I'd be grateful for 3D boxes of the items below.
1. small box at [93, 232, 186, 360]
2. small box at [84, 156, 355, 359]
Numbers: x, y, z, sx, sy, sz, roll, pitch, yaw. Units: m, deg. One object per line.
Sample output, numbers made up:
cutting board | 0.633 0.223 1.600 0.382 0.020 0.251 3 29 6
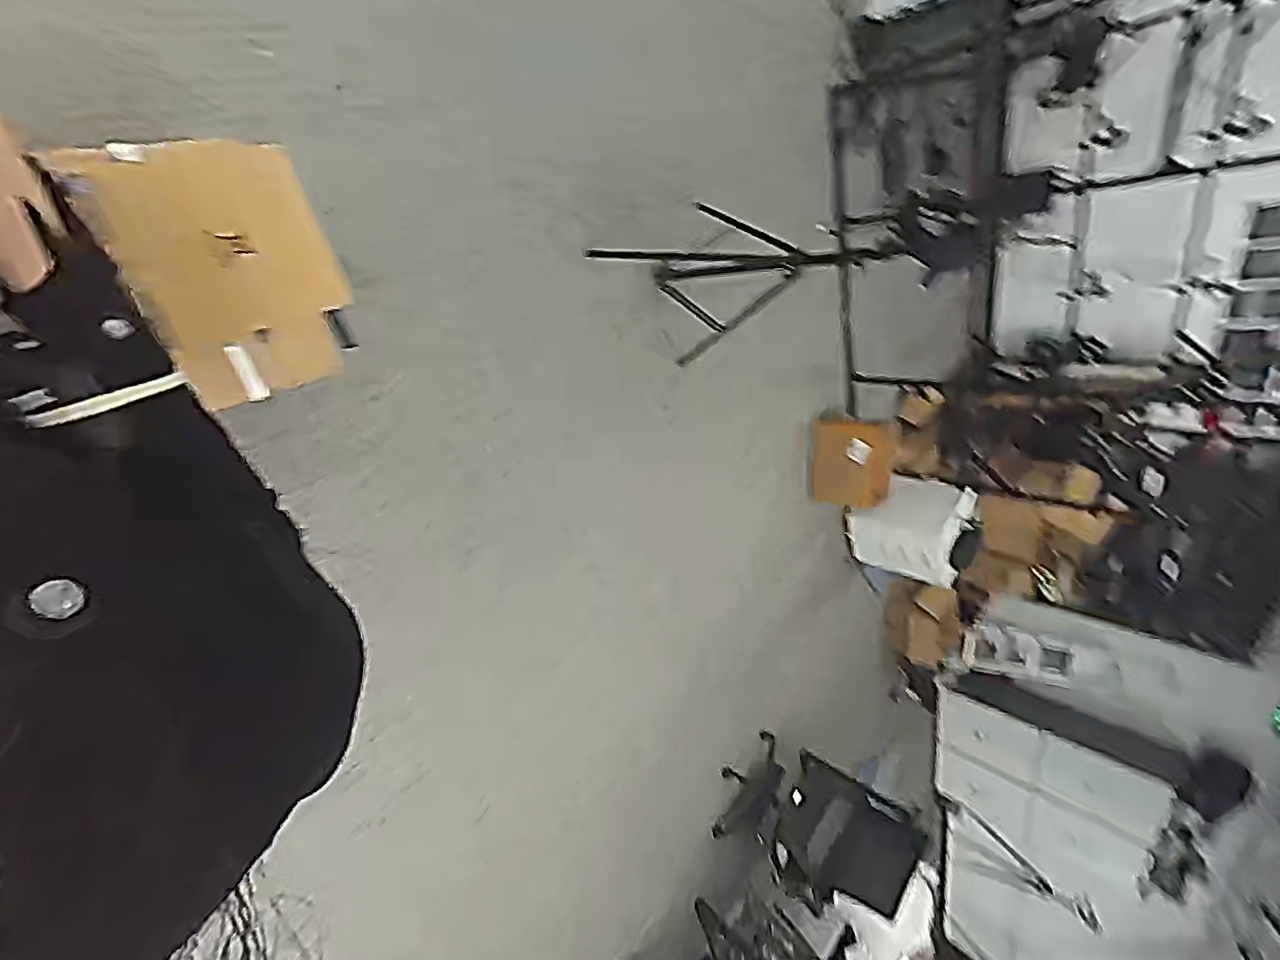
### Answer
small box | -0.693 -0.297 0.841 0.168 0.176 0.179 -34 123 -32
small box | -0.466 -0.248 0.611 0.179 0.176 0.168 -33 122 -32
